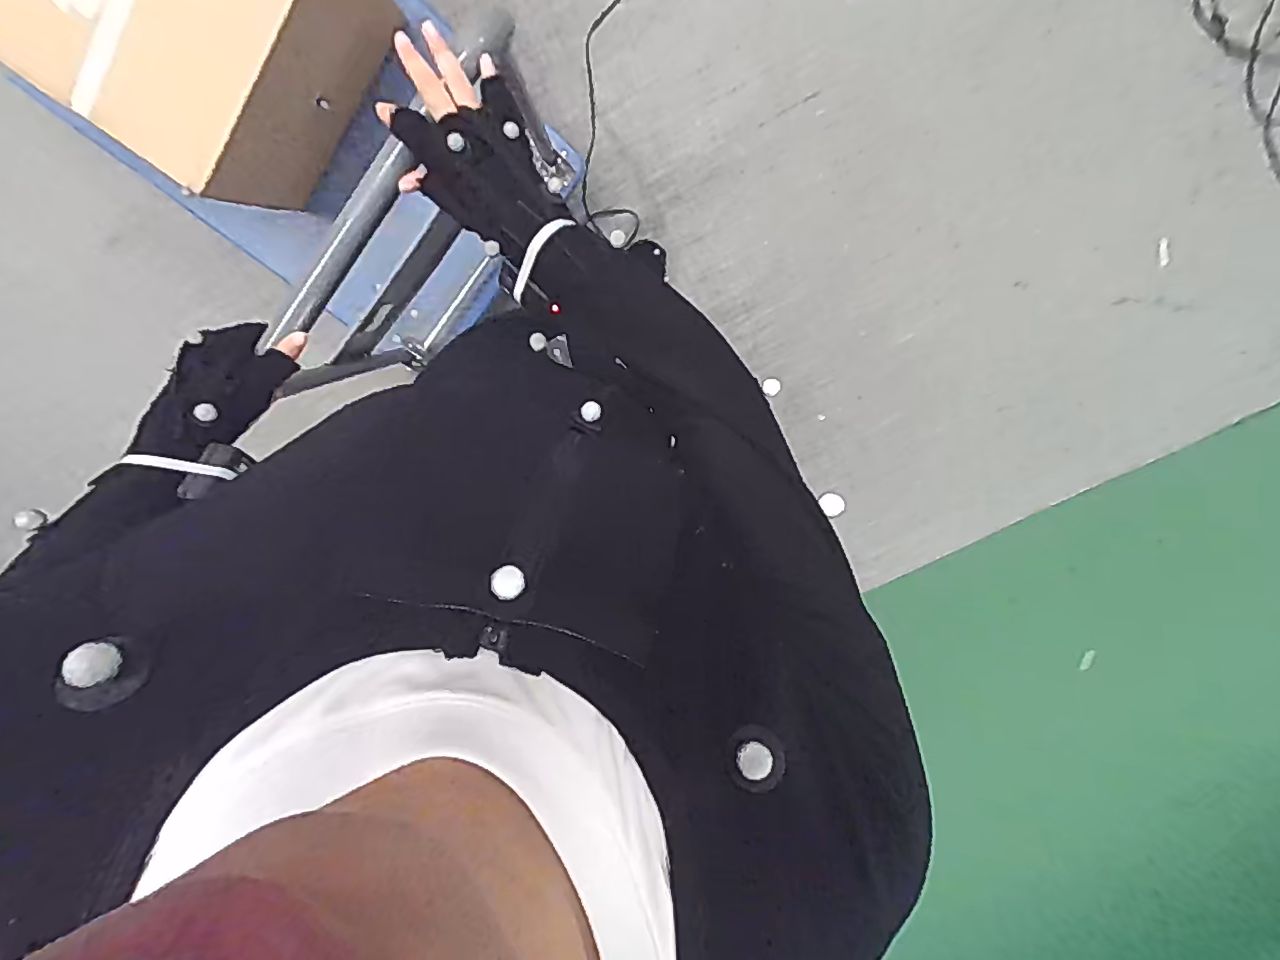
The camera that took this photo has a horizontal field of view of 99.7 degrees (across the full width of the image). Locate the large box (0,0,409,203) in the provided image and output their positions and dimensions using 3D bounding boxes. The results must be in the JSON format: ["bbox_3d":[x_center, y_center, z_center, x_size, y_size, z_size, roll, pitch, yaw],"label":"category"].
[{"bbox_3d":[-0.630,-0.711,0.831,0.320,0.320,0.408,36,106,-16],"label":"large box"}]
